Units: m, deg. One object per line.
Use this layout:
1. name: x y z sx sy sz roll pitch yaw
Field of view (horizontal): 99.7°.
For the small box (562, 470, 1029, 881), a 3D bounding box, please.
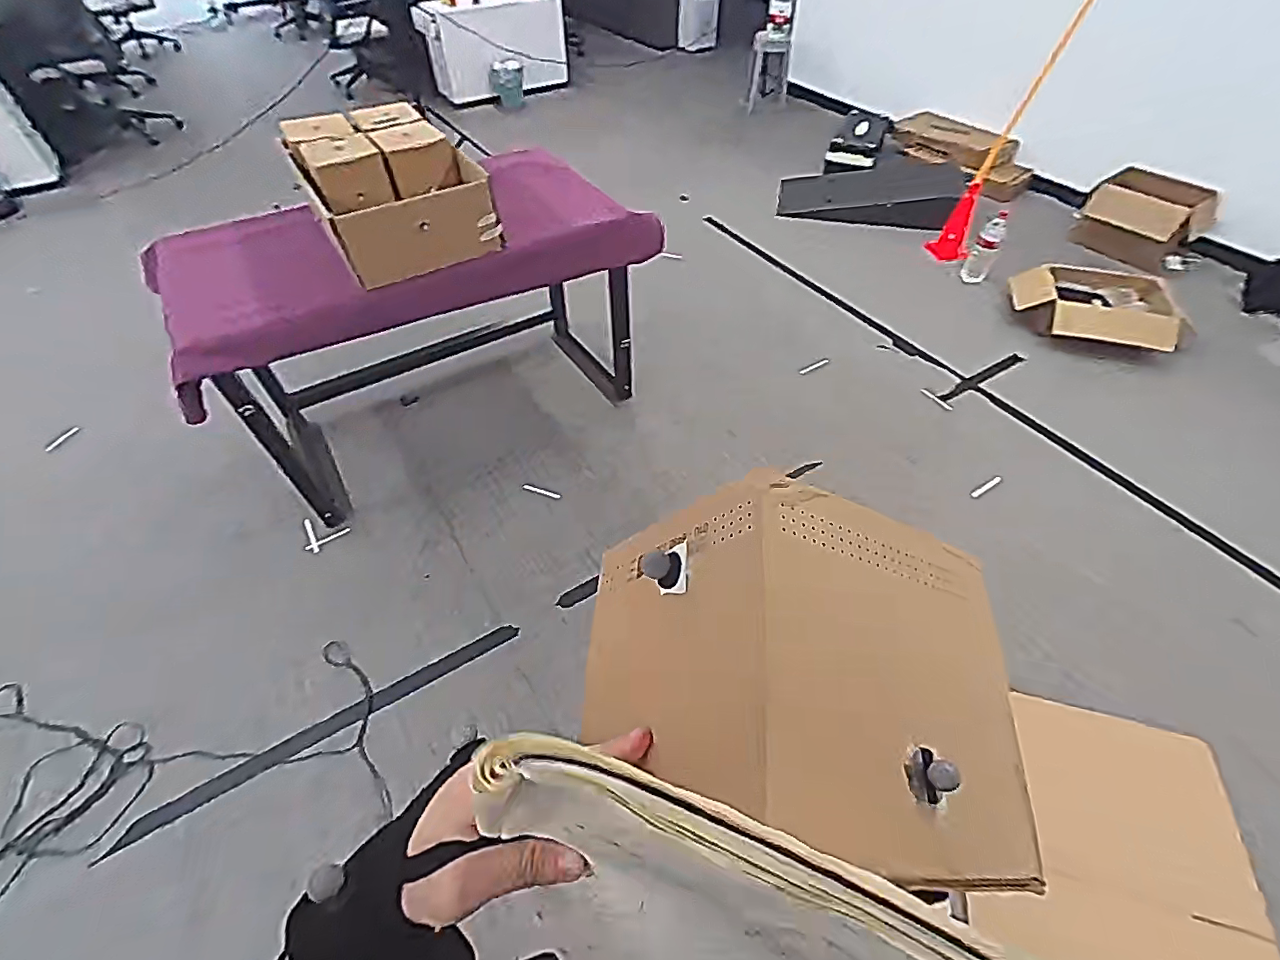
1. small box: 0.077 0.115 0.317 0.179 0.168 0.176 21 57 -24
